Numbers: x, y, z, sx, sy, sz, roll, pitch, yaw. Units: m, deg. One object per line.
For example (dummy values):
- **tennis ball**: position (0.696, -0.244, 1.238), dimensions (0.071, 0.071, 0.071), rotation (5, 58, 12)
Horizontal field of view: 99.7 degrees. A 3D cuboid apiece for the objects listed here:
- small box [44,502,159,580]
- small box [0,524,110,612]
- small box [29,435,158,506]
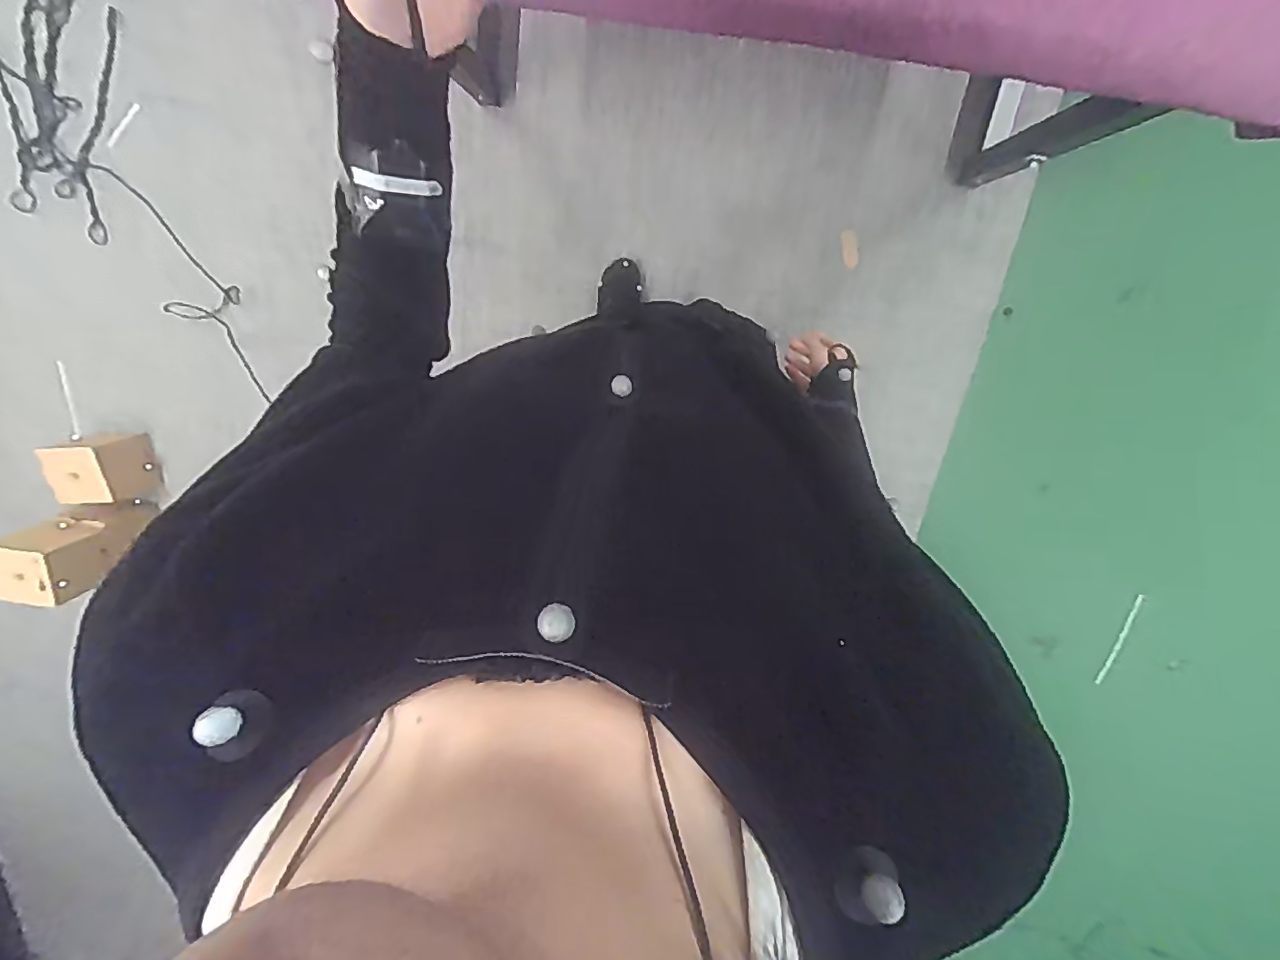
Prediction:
- **small box**: position (-1.608, 0.174, 1.627), dimensions (0.168, 0.176, 0.179), rotation (8, 109, 2)
- **small box**: position (-1.619, 0.232, 1.473), dimensions (0.179, 0.176, 0.168), rotation (10, 109, 2)
- **small box**: position (-1.560, -0.030, 1.556), dimensions (0.179, 0.176, 0.168), rotation (-1, 109, 4)
